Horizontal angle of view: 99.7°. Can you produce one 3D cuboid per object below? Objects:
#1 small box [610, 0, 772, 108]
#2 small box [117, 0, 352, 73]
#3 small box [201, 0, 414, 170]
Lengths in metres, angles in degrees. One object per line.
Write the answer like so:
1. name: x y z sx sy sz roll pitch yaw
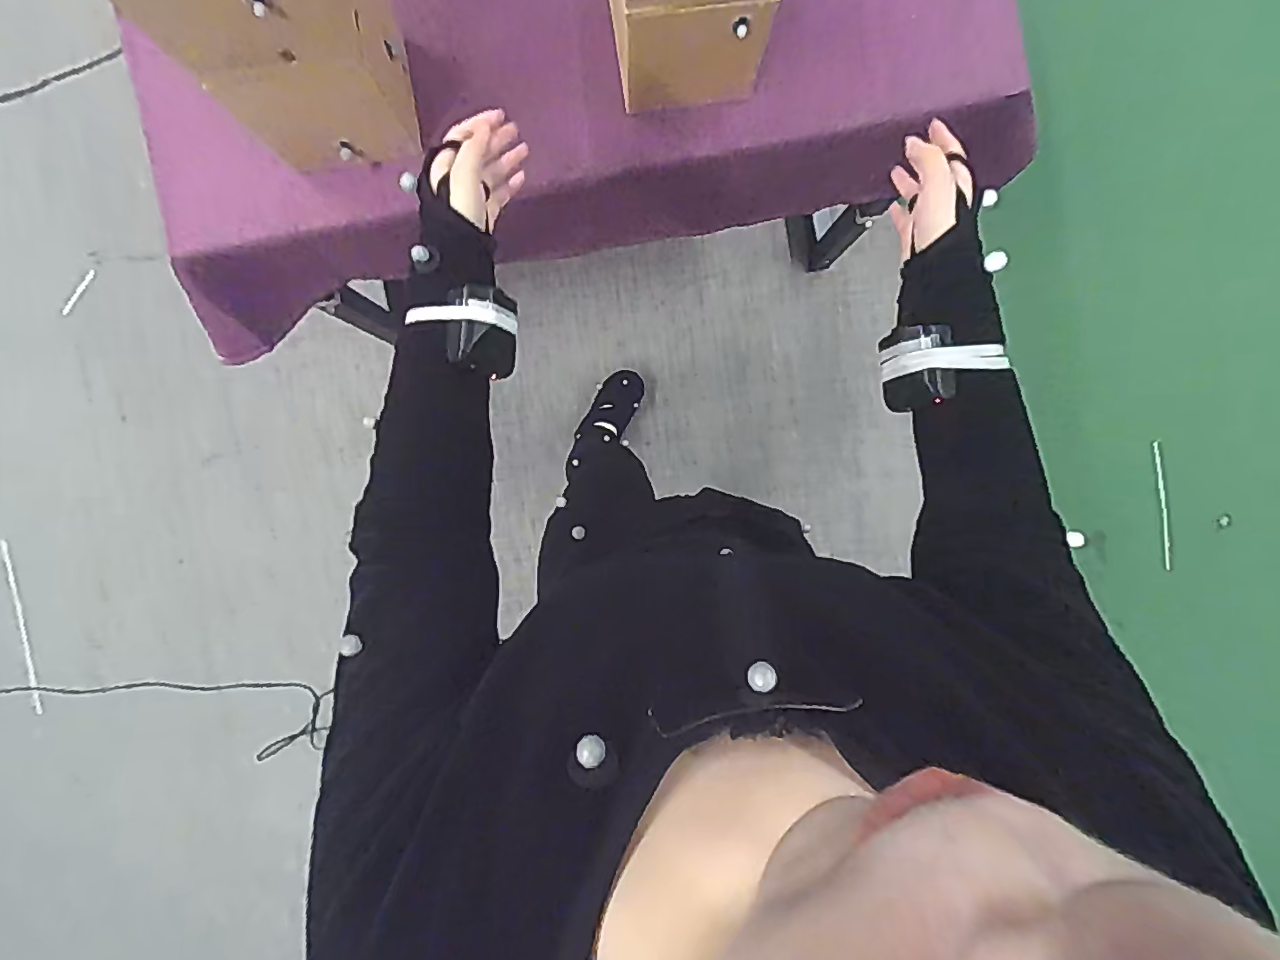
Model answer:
1. small box: 0.053 -0.592 0.660 0.179 0.176 0.168 -8 92 -1
2. small box: -0.389 -0.510 0.491 0.168 0.176 0.179 -8 91 -1
3. small box: -0.392 -0.509 0.654 0.179 0.176 0.168 -9 91 -1
